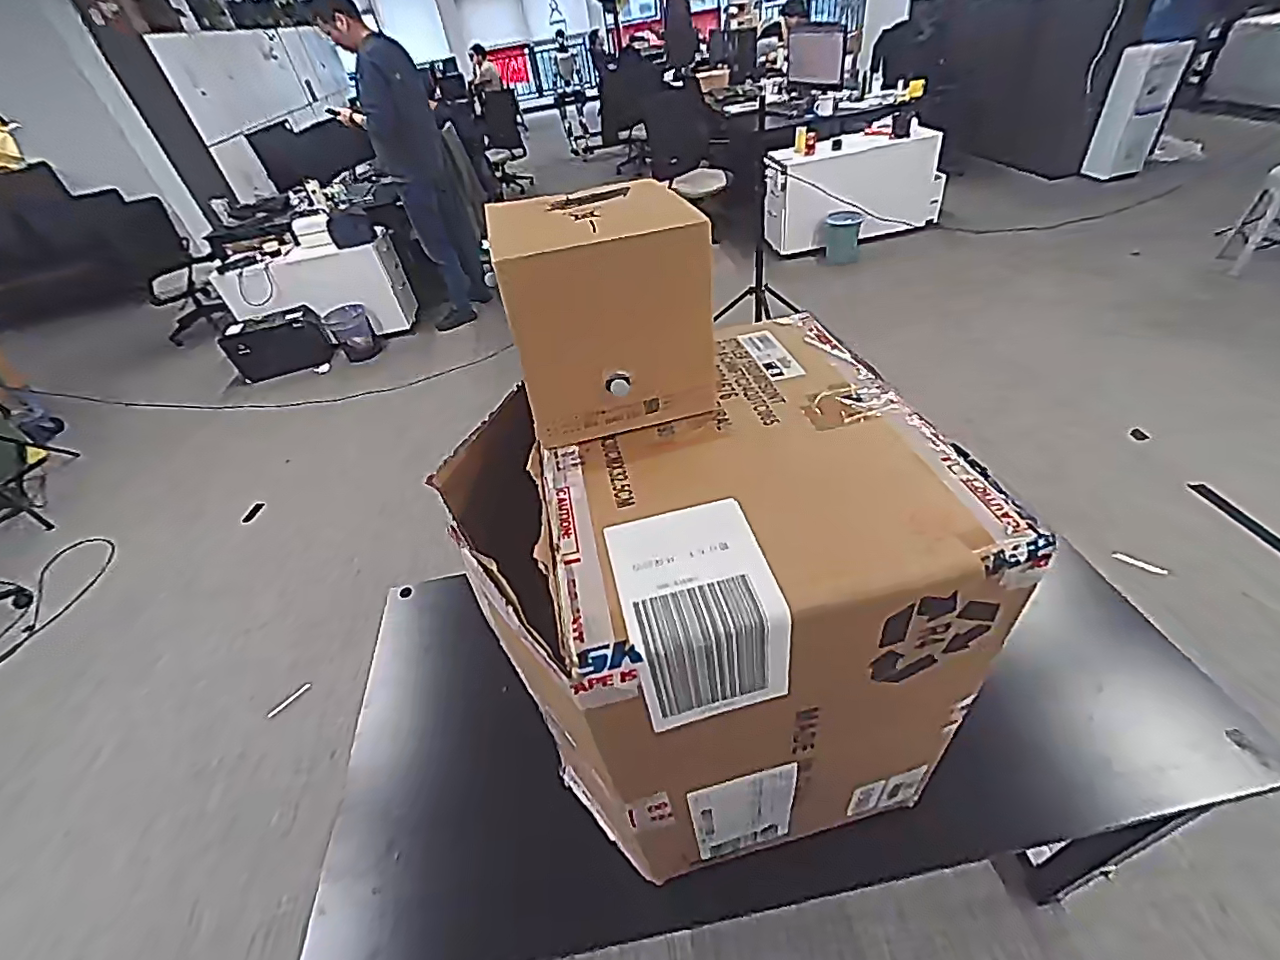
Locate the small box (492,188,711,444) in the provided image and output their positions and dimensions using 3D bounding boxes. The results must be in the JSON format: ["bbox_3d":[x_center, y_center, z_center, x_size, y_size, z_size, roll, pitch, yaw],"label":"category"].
[{"bbox_3d":[-0.037,-0.159,0.514,0.168,0.176,0.179,-14,40,-7],"label":"small box"}]
